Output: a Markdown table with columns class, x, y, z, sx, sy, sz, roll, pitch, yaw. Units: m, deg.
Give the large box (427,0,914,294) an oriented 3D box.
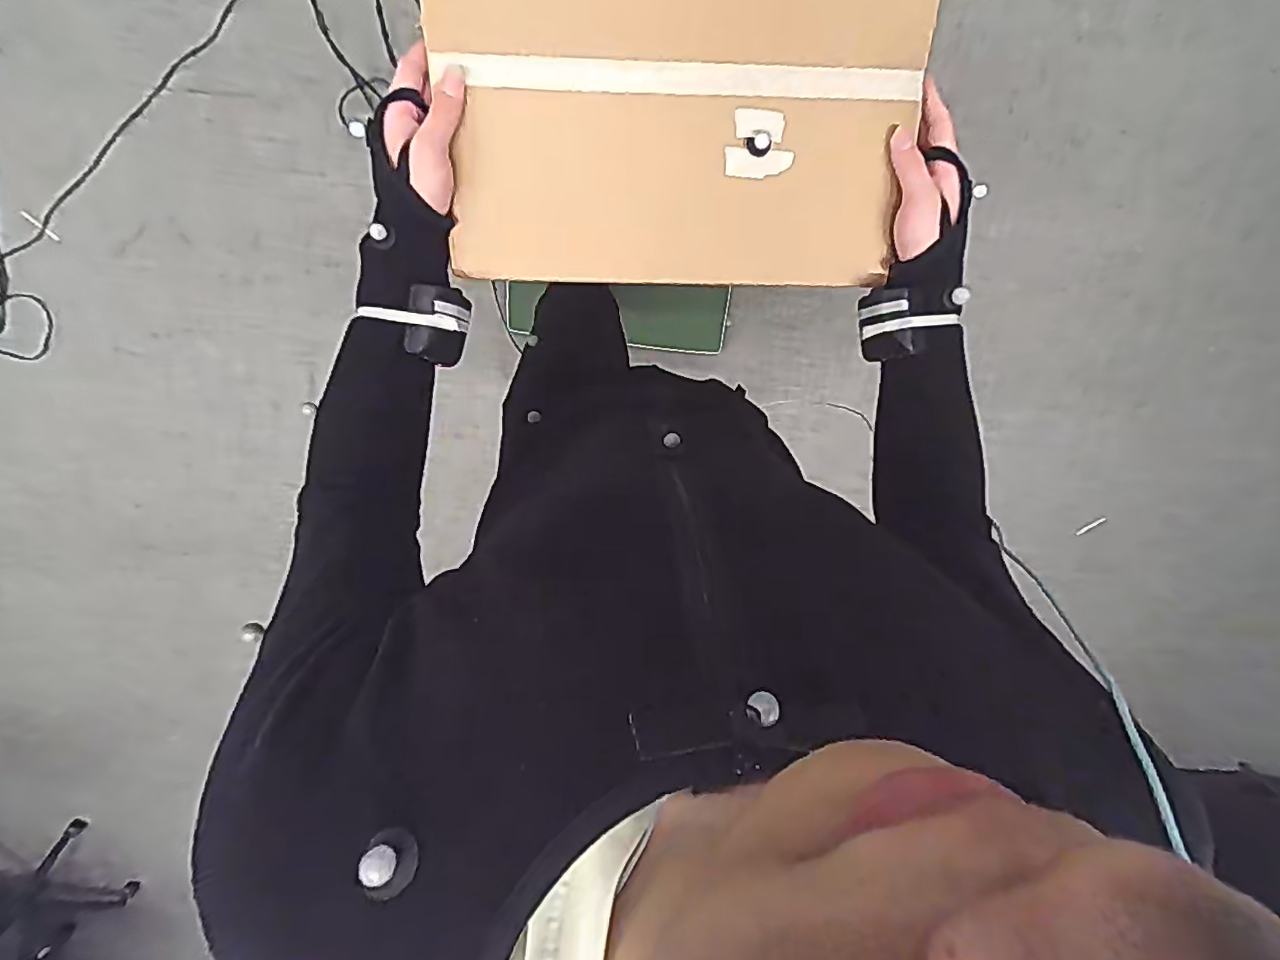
| class | x | y | z | sx | sy | sz | roll | pitch | yaw |
| --- | --- | --- | --- | --- | --- | --- | --- | --- | --- |
| large box | 0.017 | -0.379 | 0.599 | 0.408 | 0.320 | 0.320 | -1 | 112 | -4 |
